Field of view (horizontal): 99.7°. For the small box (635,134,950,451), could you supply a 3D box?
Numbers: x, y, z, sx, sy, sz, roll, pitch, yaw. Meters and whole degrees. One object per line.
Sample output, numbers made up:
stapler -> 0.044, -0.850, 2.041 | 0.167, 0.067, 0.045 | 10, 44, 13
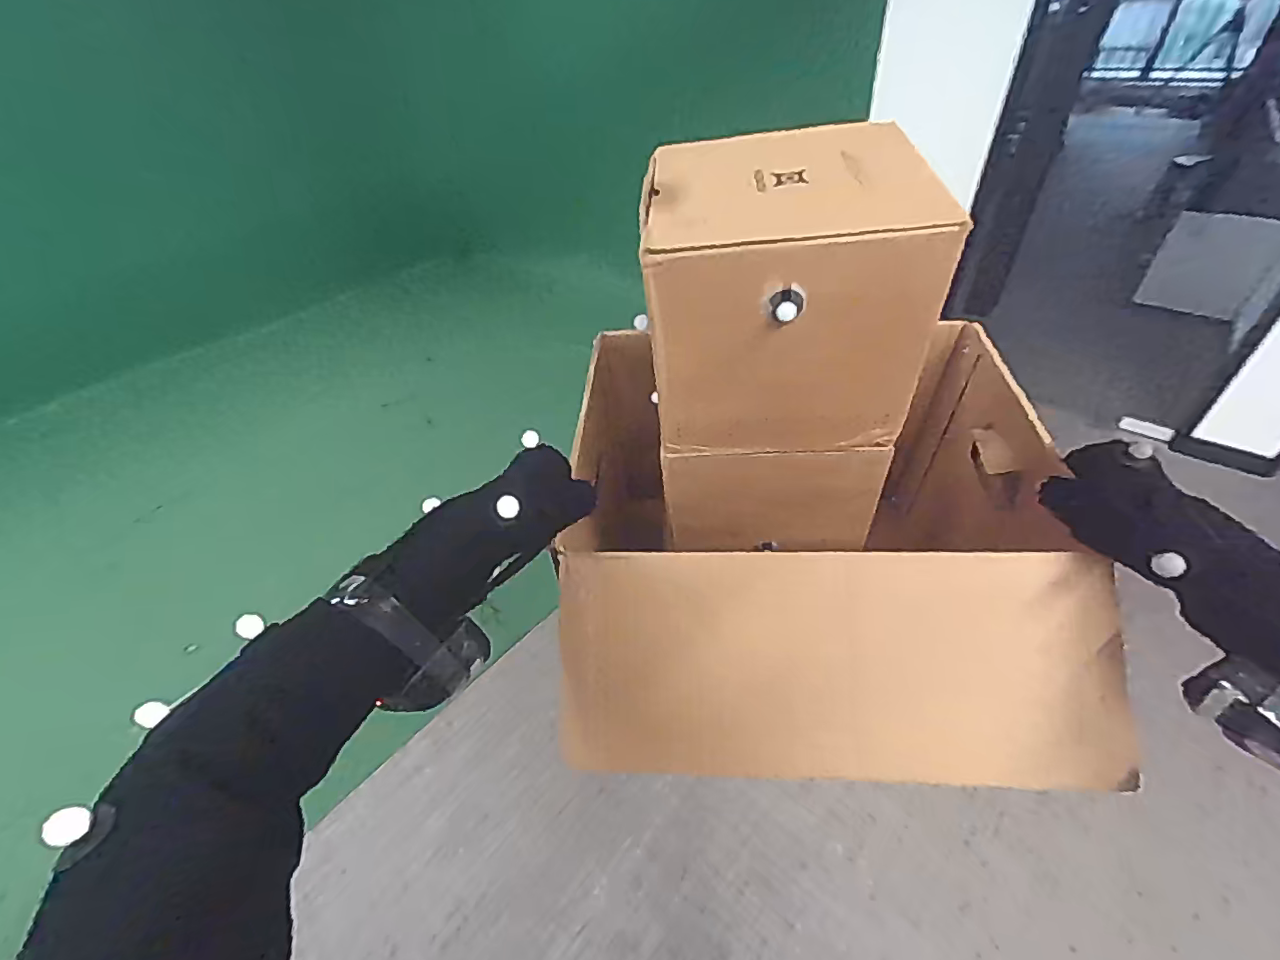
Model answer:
small box -> 0.095, -0.135, 0.411 | 0.179, 0.176, 0.168 | -2, 49, 6
